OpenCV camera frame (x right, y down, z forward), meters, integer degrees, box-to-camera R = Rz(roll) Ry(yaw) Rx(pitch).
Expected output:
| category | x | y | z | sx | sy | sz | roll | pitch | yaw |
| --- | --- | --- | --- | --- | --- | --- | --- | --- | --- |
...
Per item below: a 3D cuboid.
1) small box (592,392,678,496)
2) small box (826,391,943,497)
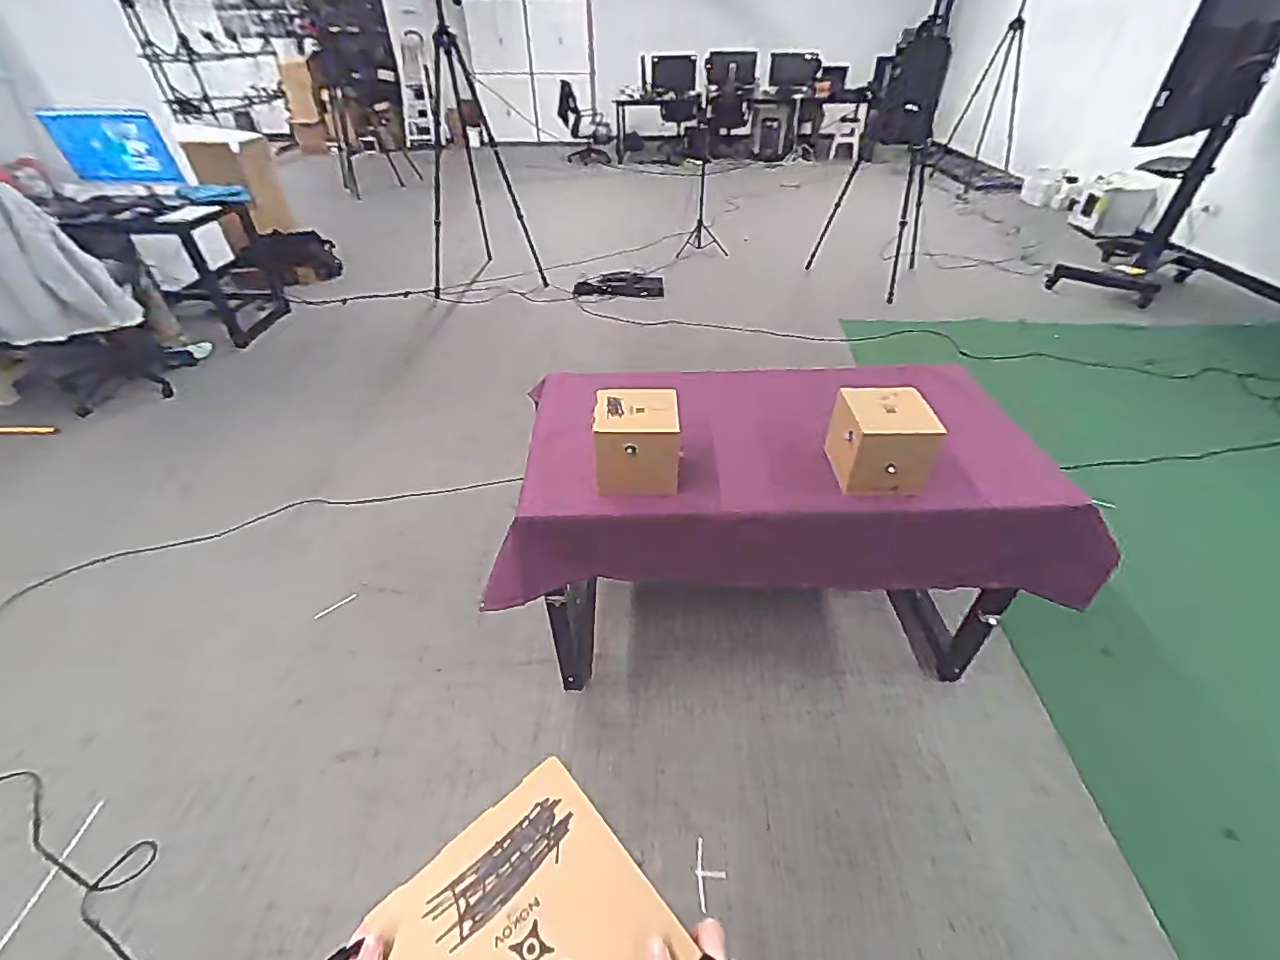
| category | x | y | z | sx | sy | sz | roll | pitch | yaw |
| --- | --- | --- | --- | --- | --- | --- | --- | --- | --- |
| small box | -0.007 | -0.078 | 1.183 | 0.179 | 0.176 | 0.168 | 0 | 40 | 0 |
| small box | 0.517 | -0.076 | 1.170 | 0.168 | 0.176 | 0.179 | 1 | 40 | 1 |
